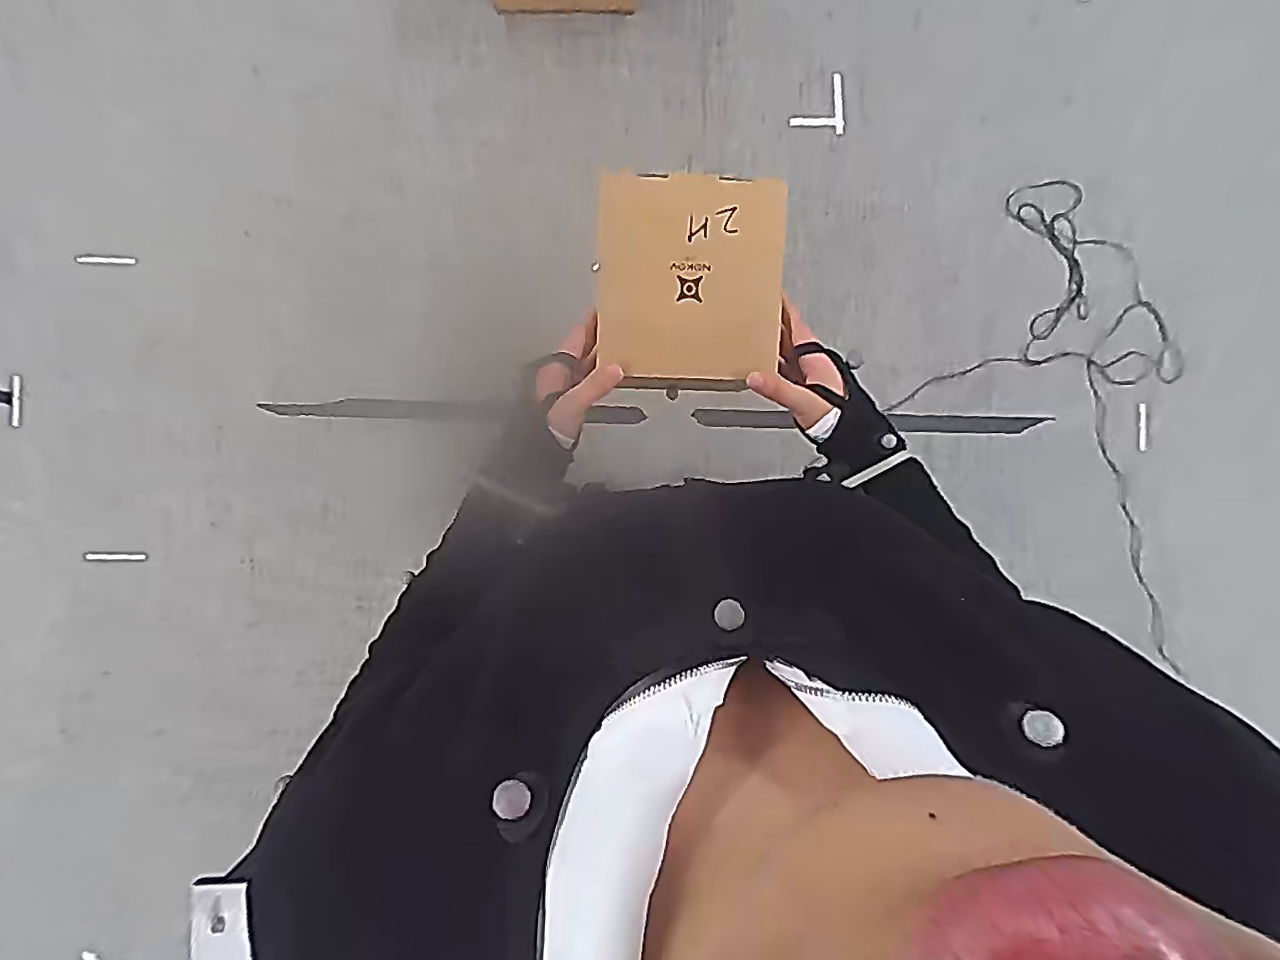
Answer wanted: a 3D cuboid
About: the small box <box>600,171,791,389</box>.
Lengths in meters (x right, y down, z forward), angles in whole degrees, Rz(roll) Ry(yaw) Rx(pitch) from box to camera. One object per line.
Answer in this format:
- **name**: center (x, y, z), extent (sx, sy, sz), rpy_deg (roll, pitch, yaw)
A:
- **small box**: center (0.046, -0.190, 0.565), extent (0.168, 0.176, 0.179), rpy_deg (2, 95, -3)
